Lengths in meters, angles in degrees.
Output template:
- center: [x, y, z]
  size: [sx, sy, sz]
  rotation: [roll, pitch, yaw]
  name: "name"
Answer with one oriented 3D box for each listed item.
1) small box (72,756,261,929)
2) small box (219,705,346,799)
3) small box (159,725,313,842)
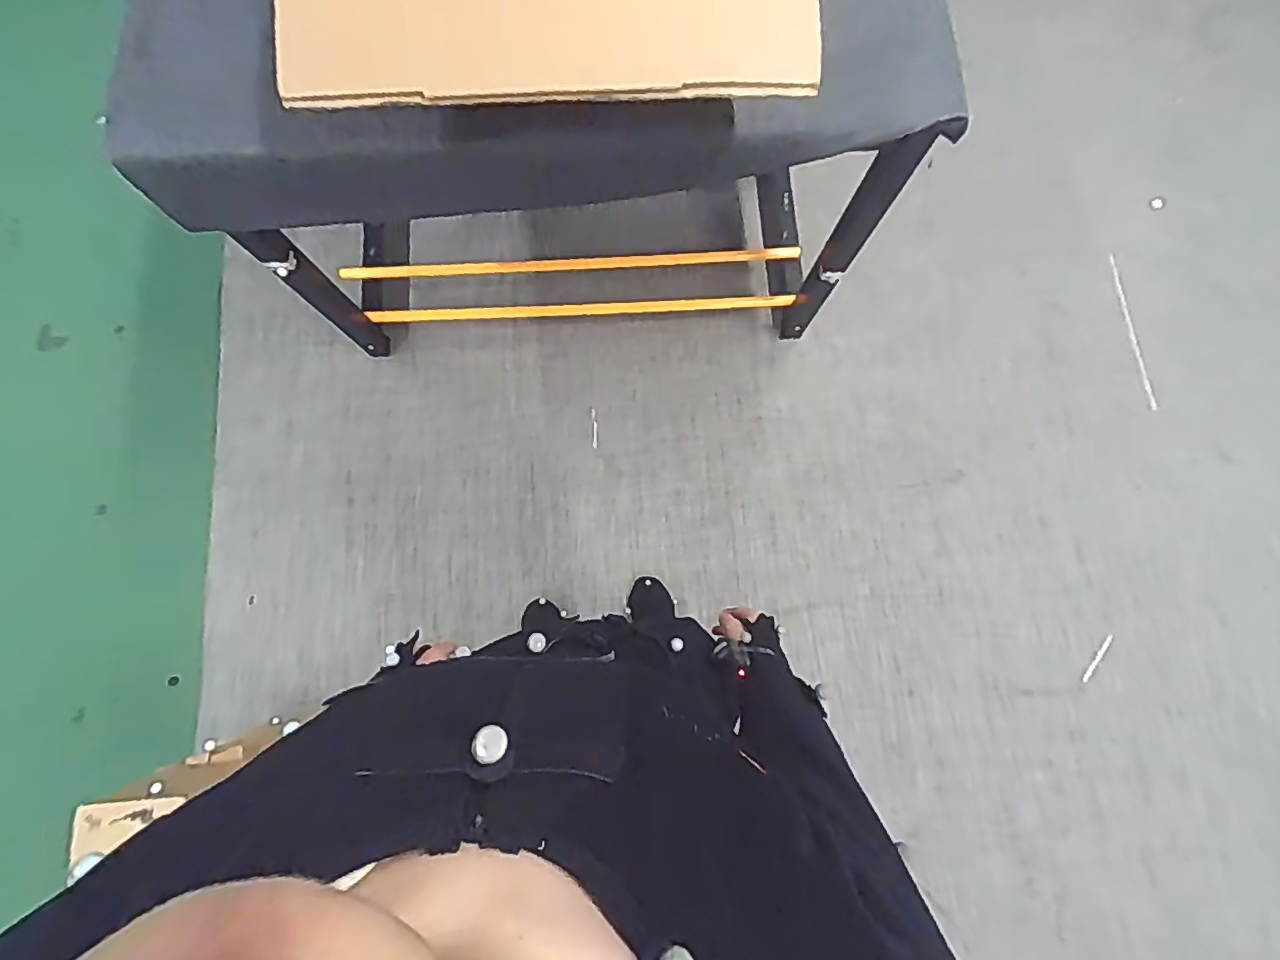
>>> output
- center: [-0.756, 0.578, 0.882]
  size: [0.168, 0.176, 0.179]
  rotation: [-4, 81, -2]
  name: "small box"
- center: [-0.784, 0.620, 1.207]
  size: [0.179, 0.176, 0.168]
  rotation: [-14, 80, -2]
  name: "small box"
- center: [-0.772, 0.595, 1.047]
  size: [0.168, 0.176, 0.179]
  rotation: [-17, 81, -2]
  name: "small box"
